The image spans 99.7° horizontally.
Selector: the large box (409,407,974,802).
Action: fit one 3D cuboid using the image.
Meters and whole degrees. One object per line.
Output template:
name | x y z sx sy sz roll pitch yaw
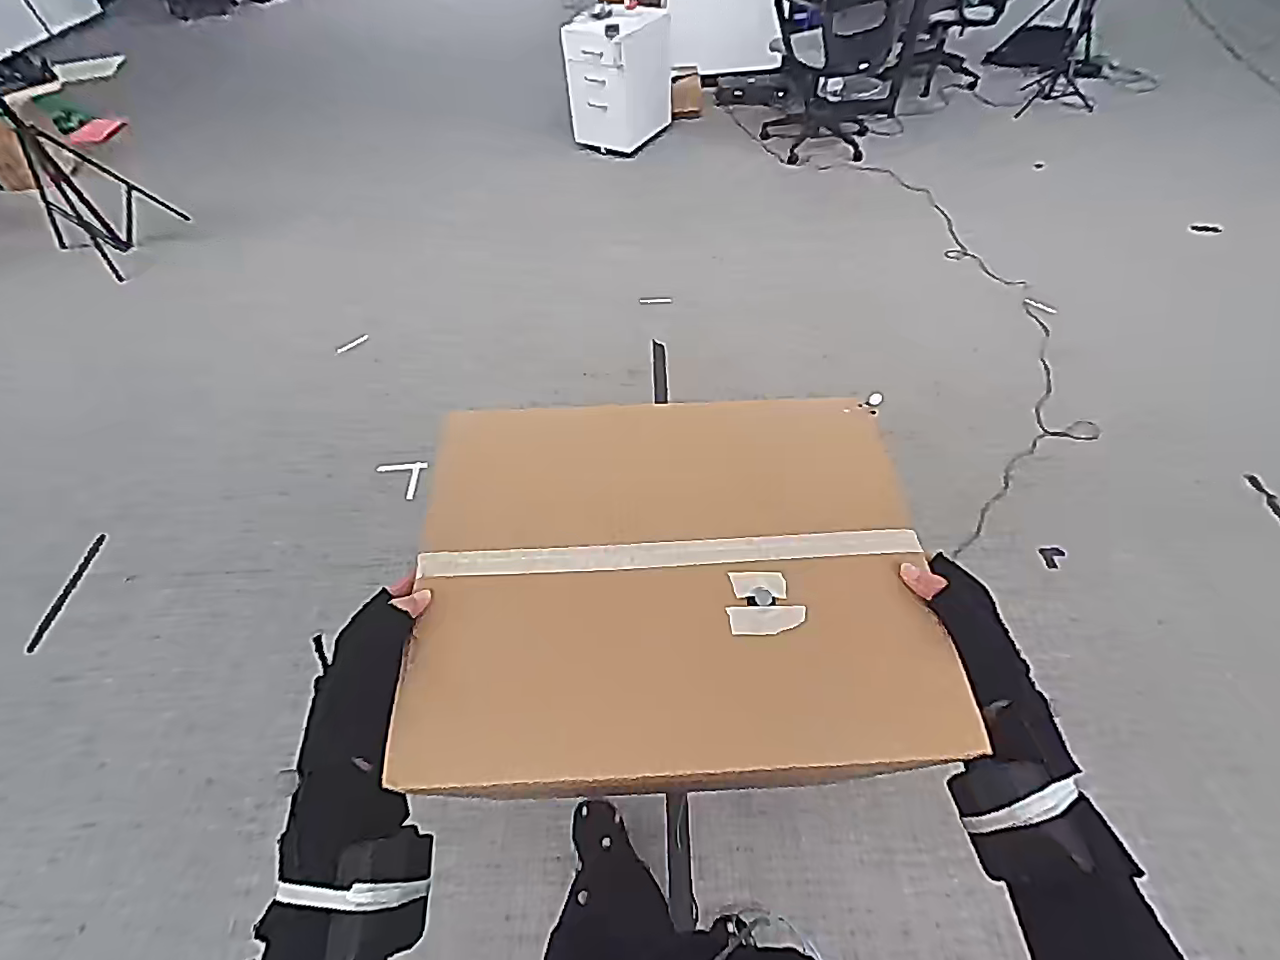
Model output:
large box | 0.028 0.146 0.574 0.408 0.320 0.320 -3 59 -2
